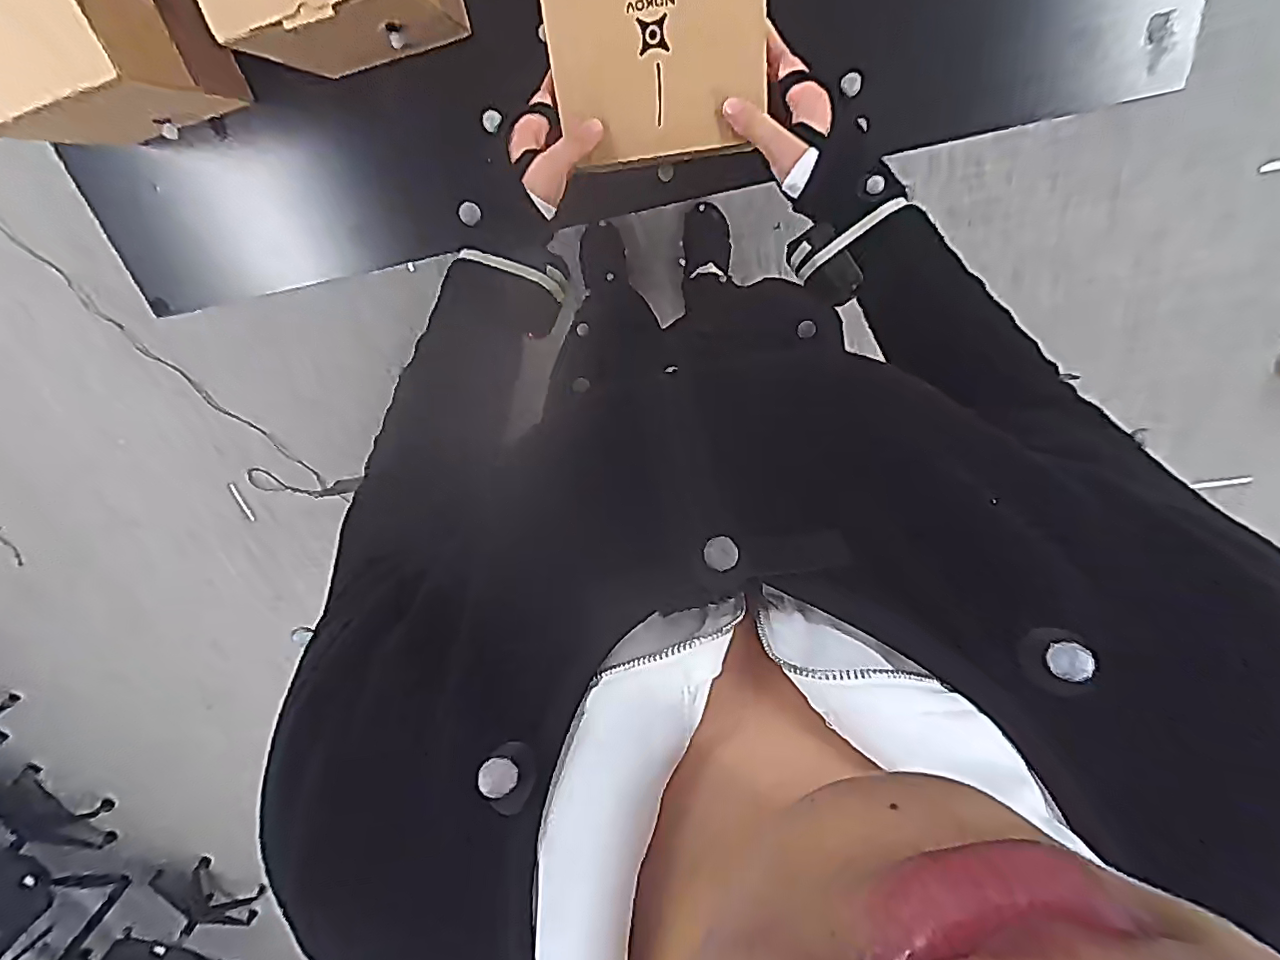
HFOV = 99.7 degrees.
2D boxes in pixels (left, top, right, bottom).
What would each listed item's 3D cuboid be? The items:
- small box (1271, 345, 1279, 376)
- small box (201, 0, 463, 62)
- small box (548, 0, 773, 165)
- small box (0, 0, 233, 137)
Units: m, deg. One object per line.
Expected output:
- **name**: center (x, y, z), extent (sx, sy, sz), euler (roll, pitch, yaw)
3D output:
- **small box**: center (1.635, -0.307, 1.239), extent (0.168, 0.176, 0.179), euler (-8, 119, 10)
- **small box**: center (-0.273, -0.481, 0.454), extent (0.168, 0.176, 0.179), euler (-10, 117, 8)
- **small box**: center (0.020, -0.381, 0.465), extent (0.168, 0.176, 0.179), euler (-3, 120, 7)
- **small box**: center (-0.527, -0.434, 0.497), extent (0.179, 0.176, 0.168), euler (-11, 117, 9)
